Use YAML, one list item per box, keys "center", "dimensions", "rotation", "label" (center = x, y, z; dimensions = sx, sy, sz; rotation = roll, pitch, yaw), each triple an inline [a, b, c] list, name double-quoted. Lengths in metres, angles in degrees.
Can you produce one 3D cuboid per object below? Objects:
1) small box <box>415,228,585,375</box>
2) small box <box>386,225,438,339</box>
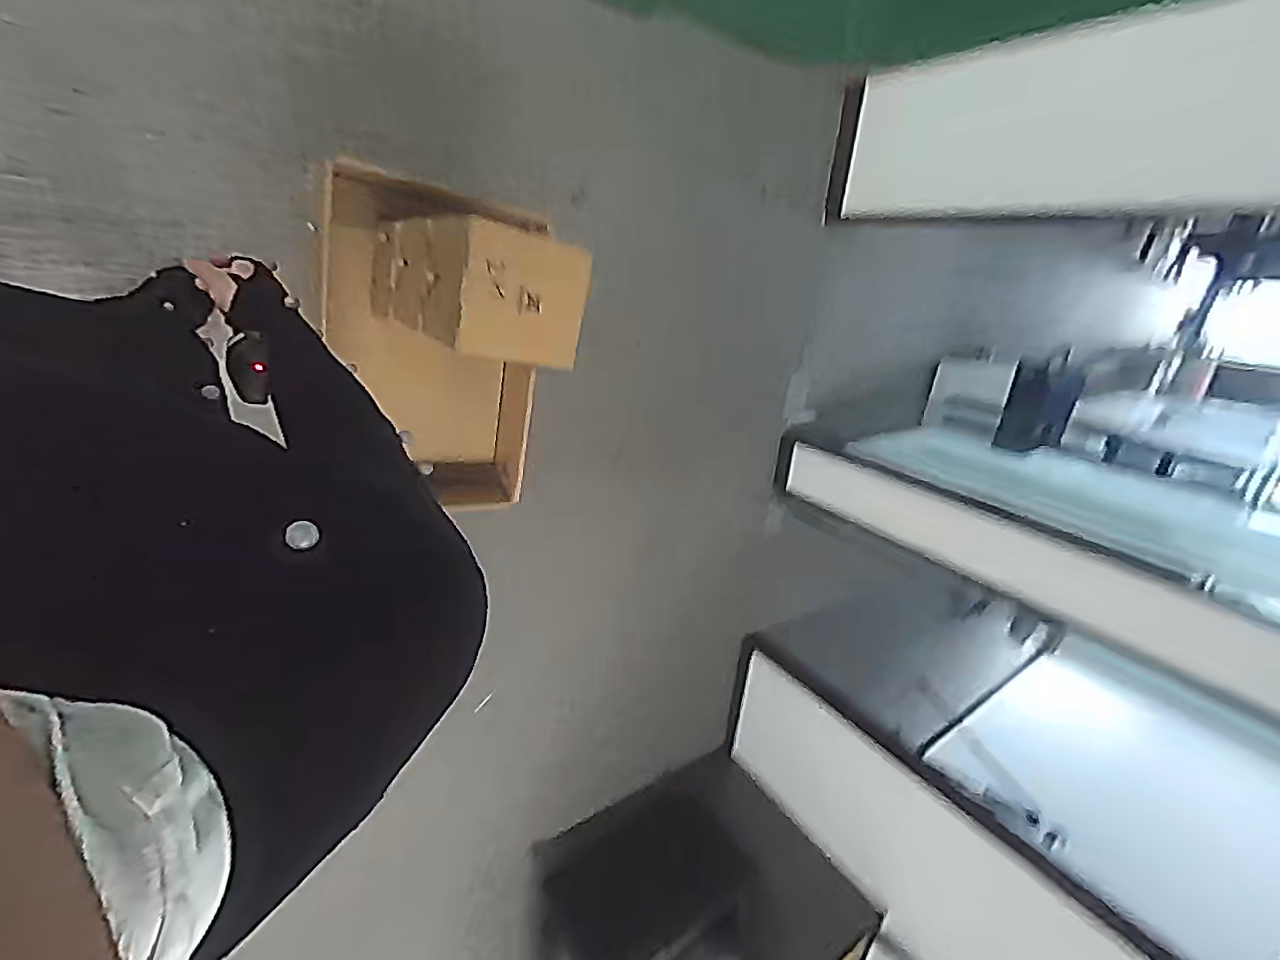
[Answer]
- center: [-0.210, -0.264, 0.798]
  dimensions: [0.179, 0.176, 0.168]
  rotation: [1, 110, -39]
  label: "small box"
- center: [-0.310, -0.324, 0.915]
  dimensions: [0.179, 0.176, 0.168]
  rotation: [0, 112, -39]
  label: "small box"
